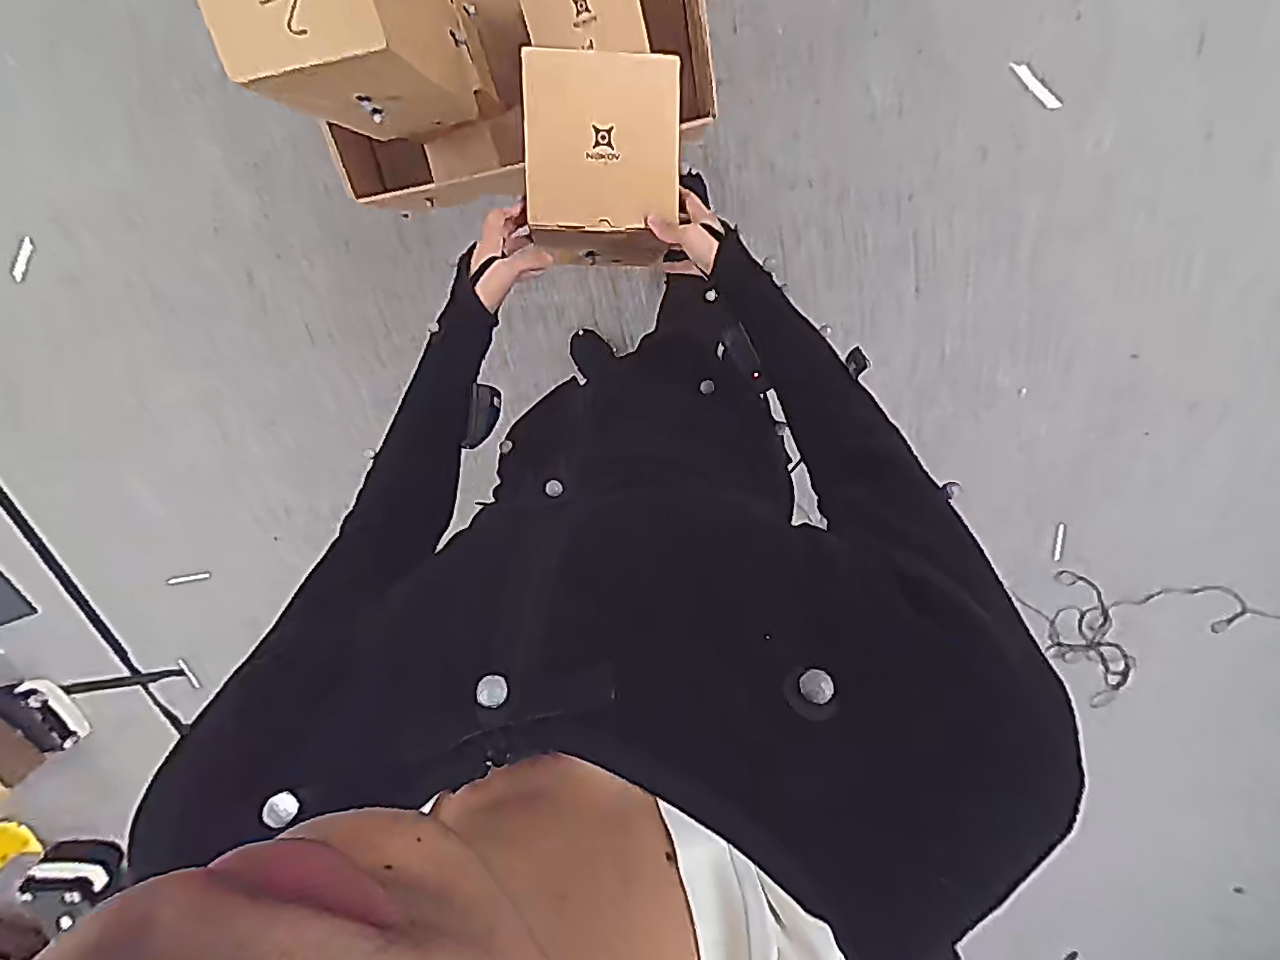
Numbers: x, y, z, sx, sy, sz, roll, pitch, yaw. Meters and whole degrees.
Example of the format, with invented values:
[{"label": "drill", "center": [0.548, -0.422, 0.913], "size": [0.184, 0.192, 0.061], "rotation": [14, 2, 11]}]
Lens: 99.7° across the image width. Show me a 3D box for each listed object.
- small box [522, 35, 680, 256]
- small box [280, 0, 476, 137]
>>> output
[{"label": "small box", "center": [-0.048, -0.380, 0.647], "size": [0.168, 0.176, 0.179], "rotation": [-2, 101, -5]}, {"label": "small box", "center": [-0.337, -0.582, 0.713], "size": [0.168, 0.176, 0.179], "rotation": [-9, 113, 5]}]
